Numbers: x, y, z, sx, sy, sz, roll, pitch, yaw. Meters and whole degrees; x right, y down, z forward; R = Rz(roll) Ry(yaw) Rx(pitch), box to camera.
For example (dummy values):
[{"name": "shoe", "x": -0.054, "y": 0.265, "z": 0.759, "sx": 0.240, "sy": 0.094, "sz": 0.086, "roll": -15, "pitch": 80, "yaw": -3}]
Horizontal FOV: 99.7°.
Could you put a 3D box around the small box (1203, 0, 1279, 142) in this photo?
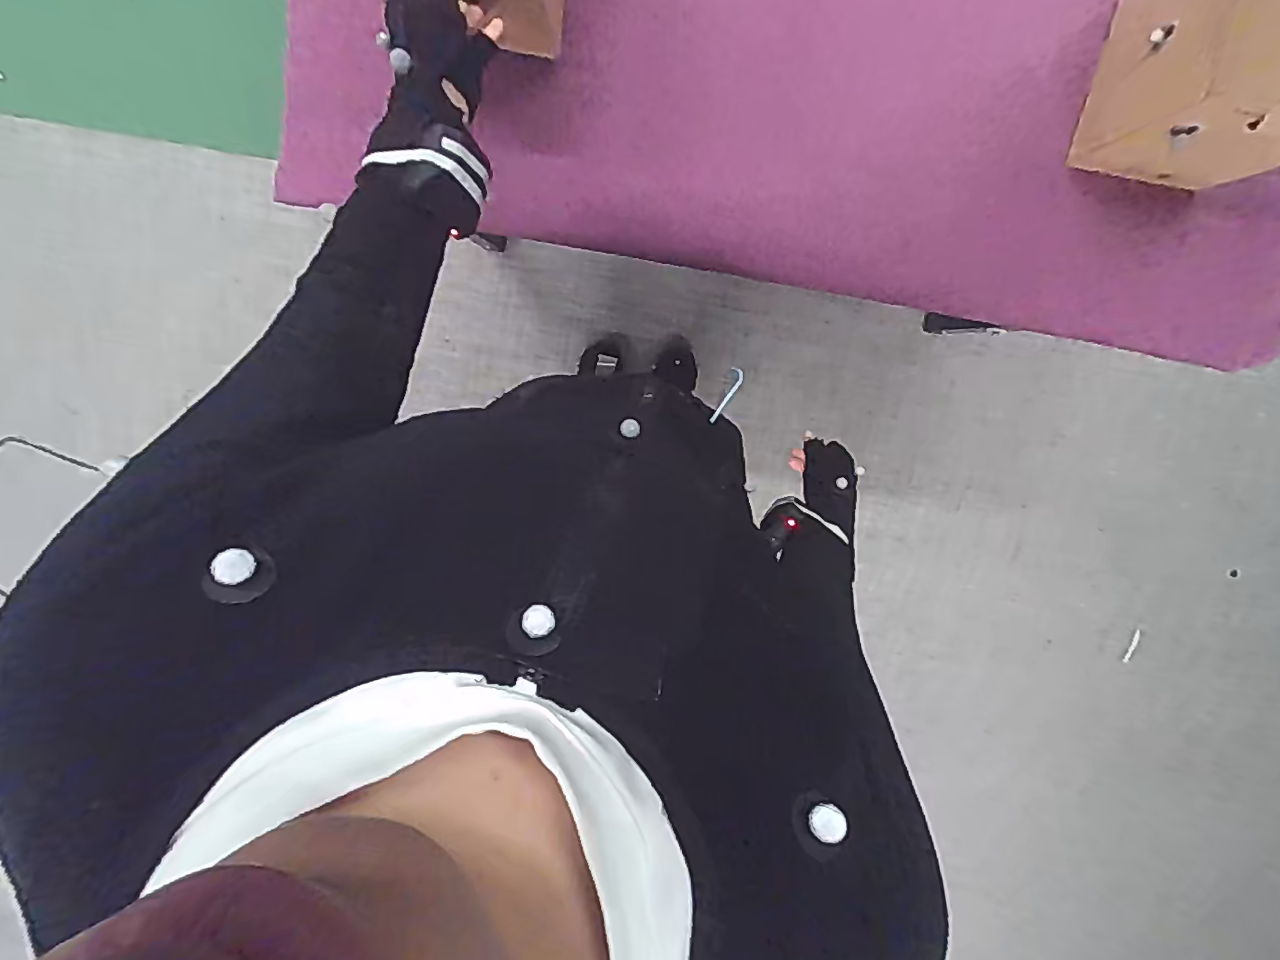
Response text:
[{"name": "small box", "x": 0.589, "y": -0.375, "z": 0.395, "sx": 0.168, "sy": 0.176, "sz": 0.179, "roll": 7, "pitch": 103, "yaw": 0}]

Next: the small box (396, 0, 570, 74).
[{"name": "small box", "x": -0.152, "y": -0.533, "z": 0.511, "sx": 0.168, "sy": 0.176, "sz": 0.179, "roll": 8, "pitch": 106, "yaw": -5}]
